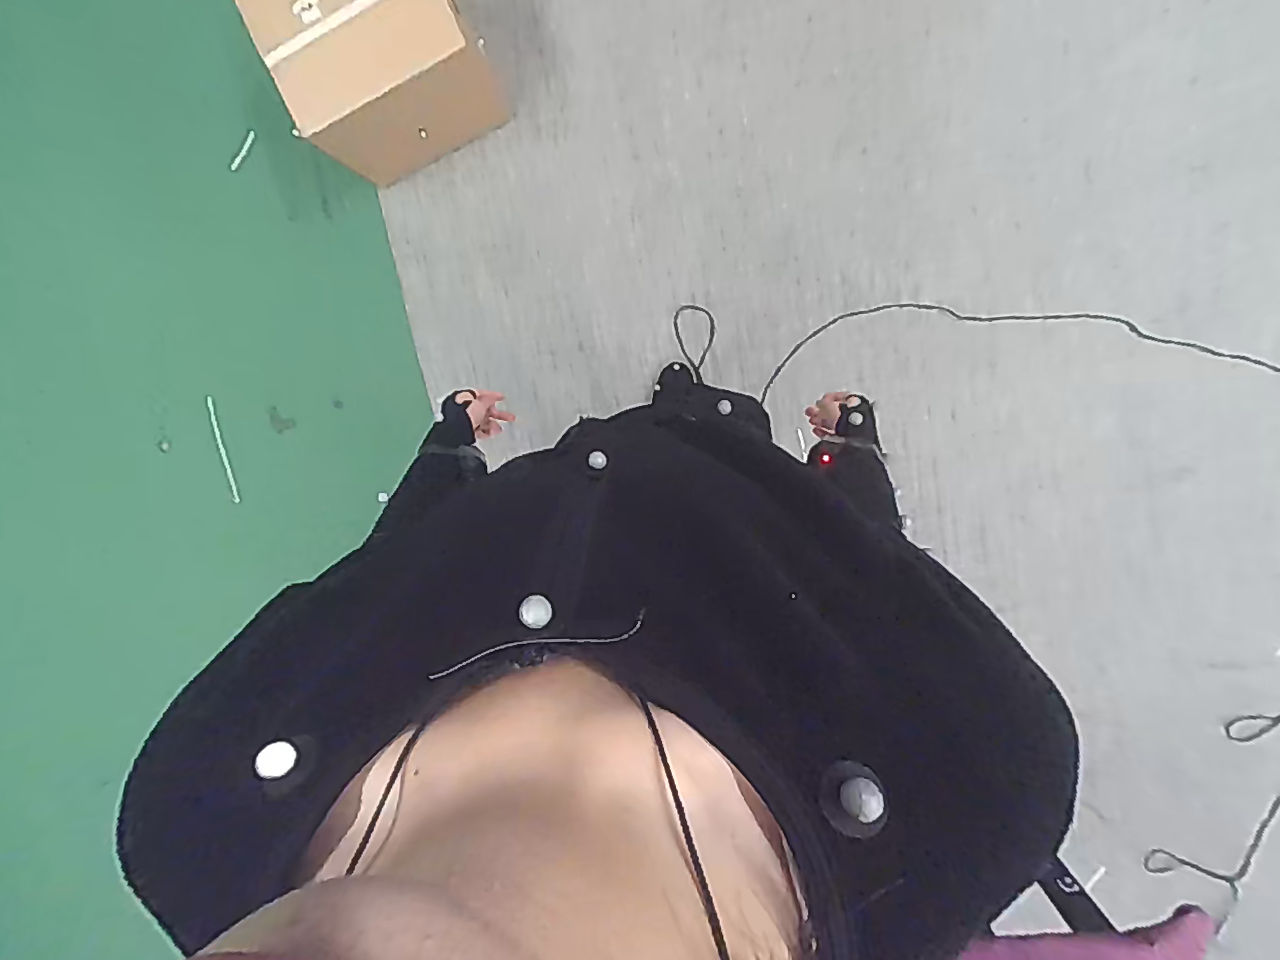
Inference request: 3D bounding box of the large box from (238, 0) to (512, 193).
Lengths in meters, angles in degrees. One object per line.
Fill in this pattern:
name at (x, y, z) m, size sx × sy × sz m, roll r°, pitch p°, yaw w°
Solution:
large box at (-0.575, -0.945, 1.245) m, size 0.408 × 0.320 × 0.320 m, roll -23°, pitch 96°, yaw 9°
